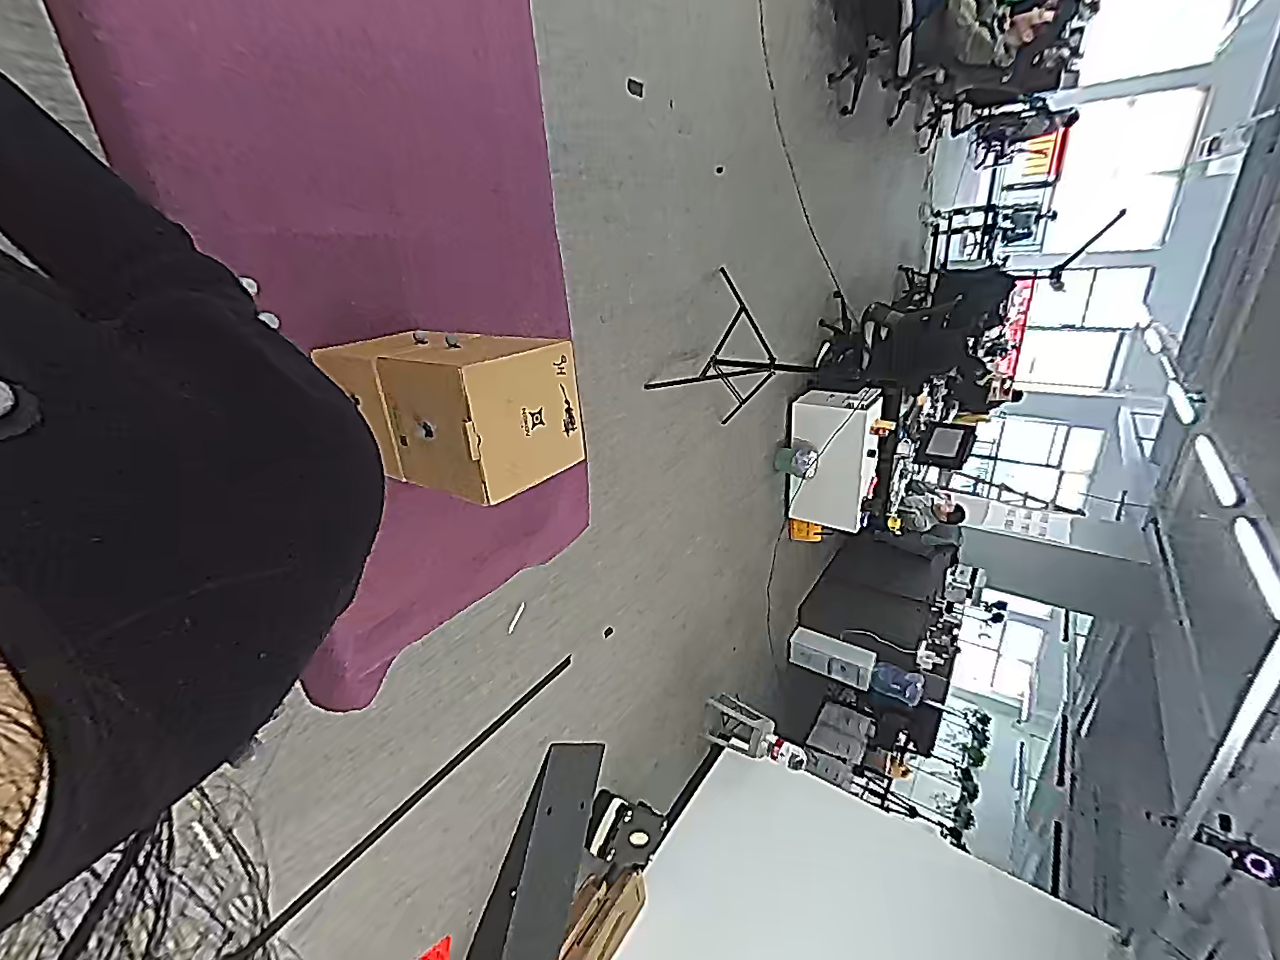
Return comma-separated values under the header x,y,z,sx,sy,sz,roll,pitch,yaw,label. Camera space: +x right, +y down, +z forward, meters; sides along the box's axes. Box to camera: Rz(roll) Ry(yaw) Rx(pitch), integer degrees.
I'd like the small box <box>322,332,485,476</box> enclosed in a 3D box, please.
x,y,z,sx,sy,sz,roll,pitch,yaw,label
-0.334,-0.120,0.793,0.179,0.176,0.168,-32,126,-47,small box

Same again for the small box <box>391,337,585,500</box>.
x,y,z,sx,sy,sz,roll,pitch,yaw,label
-0.198,-0.091,0.706,0.179,0.176,0.168,-31,125,-47,small box
